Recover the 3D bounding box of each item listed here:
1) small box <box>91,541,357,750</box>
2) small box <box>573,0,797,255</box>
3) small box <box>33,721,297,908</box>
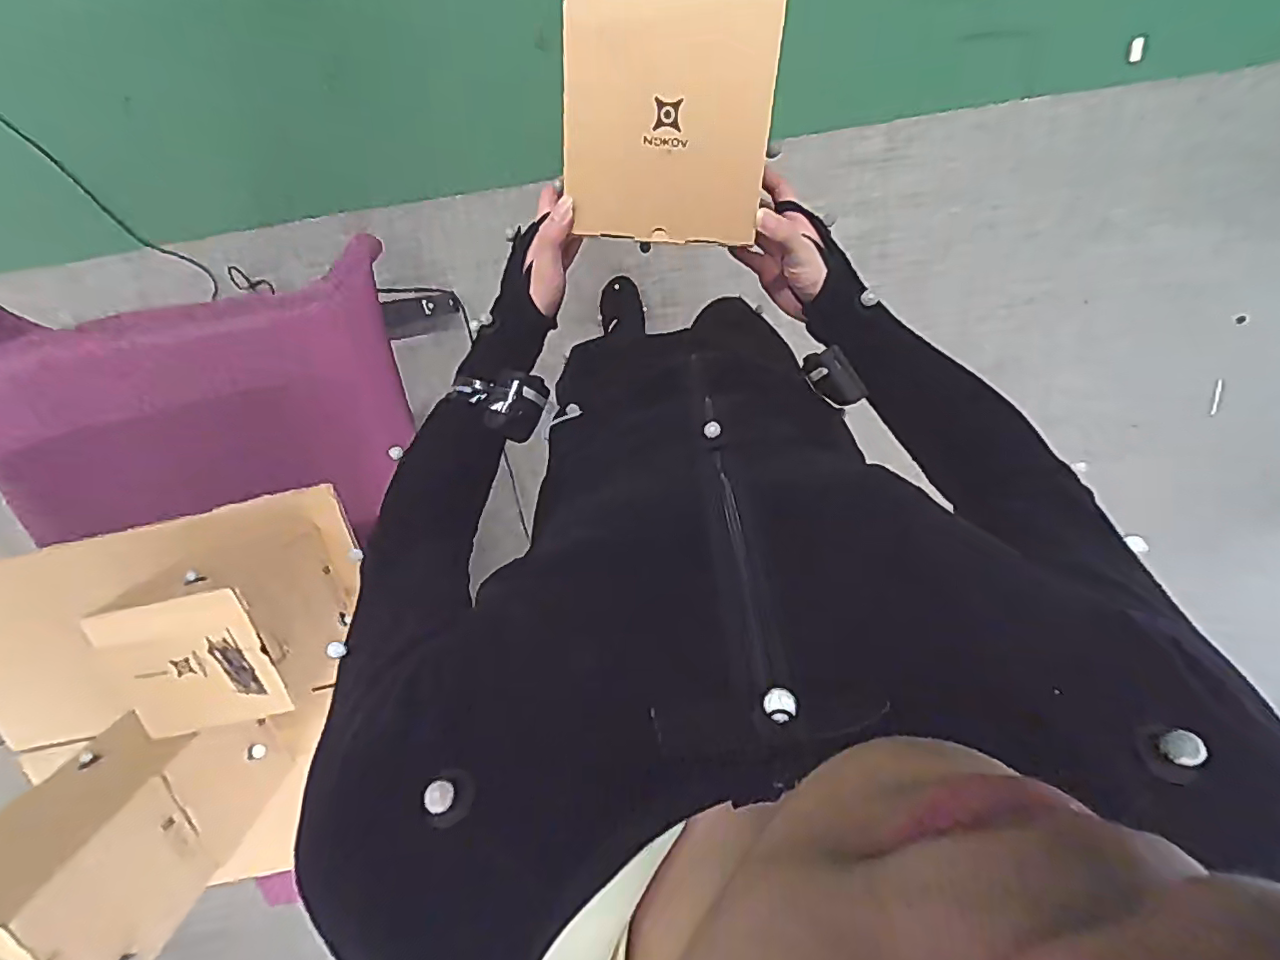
[{"bbox_3d":[-0.480,0.190,0.665,0.179,0.176,0.168,-12,107,2],"label":"small box"},{"bbox_3d":[0.030,-0.311,0.500,0.168,0.176,0.179,3,116,0],"label":"small box"},{"bbox_3d":[-0.615,0.419,0.729,0.179,0.176,0.168,-12,107,0],"label":"small box"}]
